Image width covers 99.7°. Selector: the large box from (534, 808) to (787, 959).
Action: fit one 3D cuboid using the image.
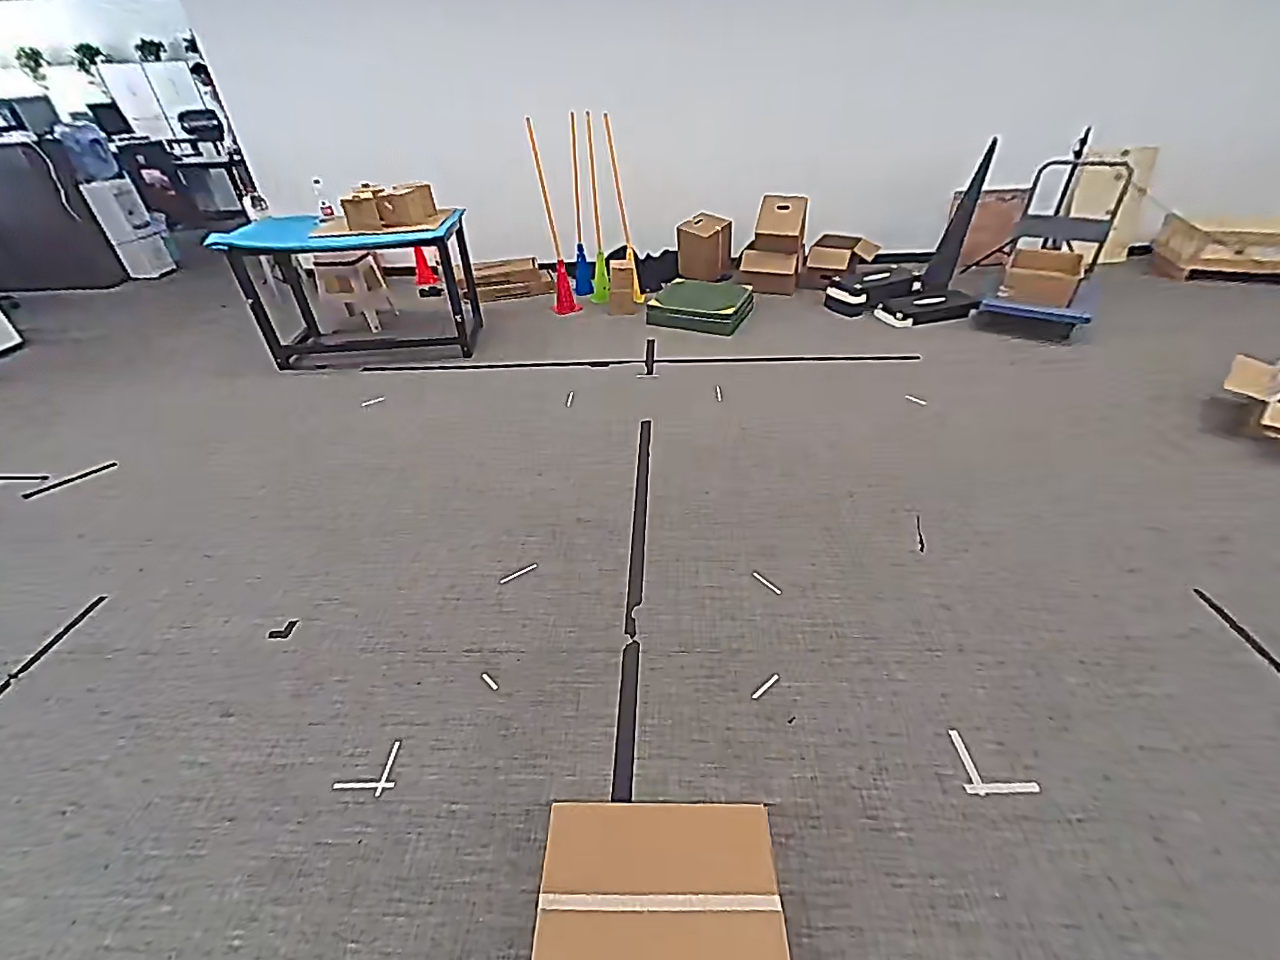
[{"bbox_3d":[0.037,0.832,0.985,0.408,0.320,0.320,-1,36,2],"label":"large box"}]
